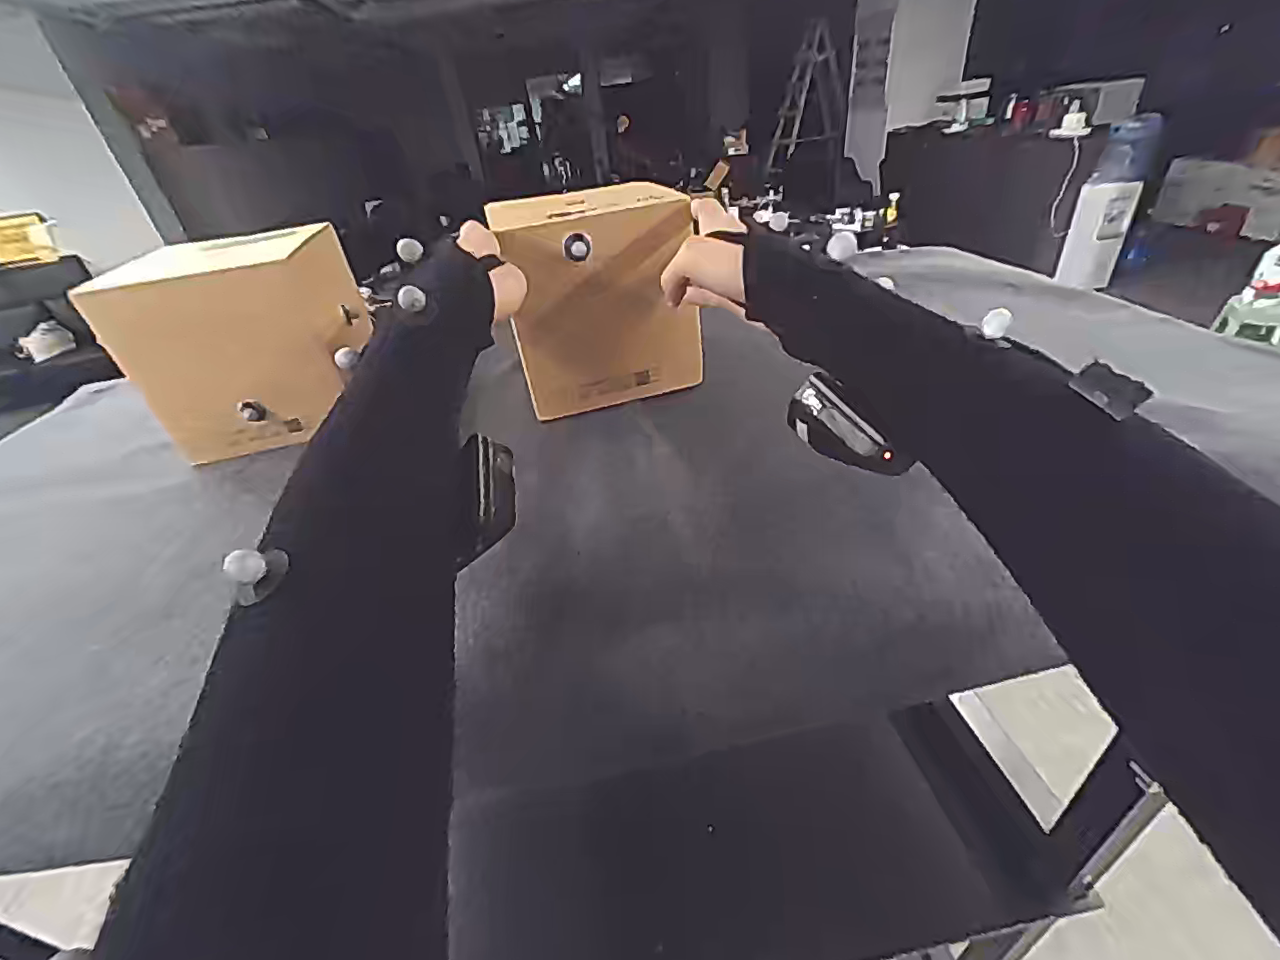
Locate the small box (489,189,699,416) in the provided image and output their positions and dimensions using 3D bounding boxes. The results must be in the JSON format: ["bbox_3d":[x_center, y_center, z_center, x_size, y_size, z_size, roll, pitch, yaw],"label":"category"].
[{"bbox_3d":[-0.048,-0.183,0.542,0.168,0.176,0.179,-15,34,-8],"label":"small box"}]
